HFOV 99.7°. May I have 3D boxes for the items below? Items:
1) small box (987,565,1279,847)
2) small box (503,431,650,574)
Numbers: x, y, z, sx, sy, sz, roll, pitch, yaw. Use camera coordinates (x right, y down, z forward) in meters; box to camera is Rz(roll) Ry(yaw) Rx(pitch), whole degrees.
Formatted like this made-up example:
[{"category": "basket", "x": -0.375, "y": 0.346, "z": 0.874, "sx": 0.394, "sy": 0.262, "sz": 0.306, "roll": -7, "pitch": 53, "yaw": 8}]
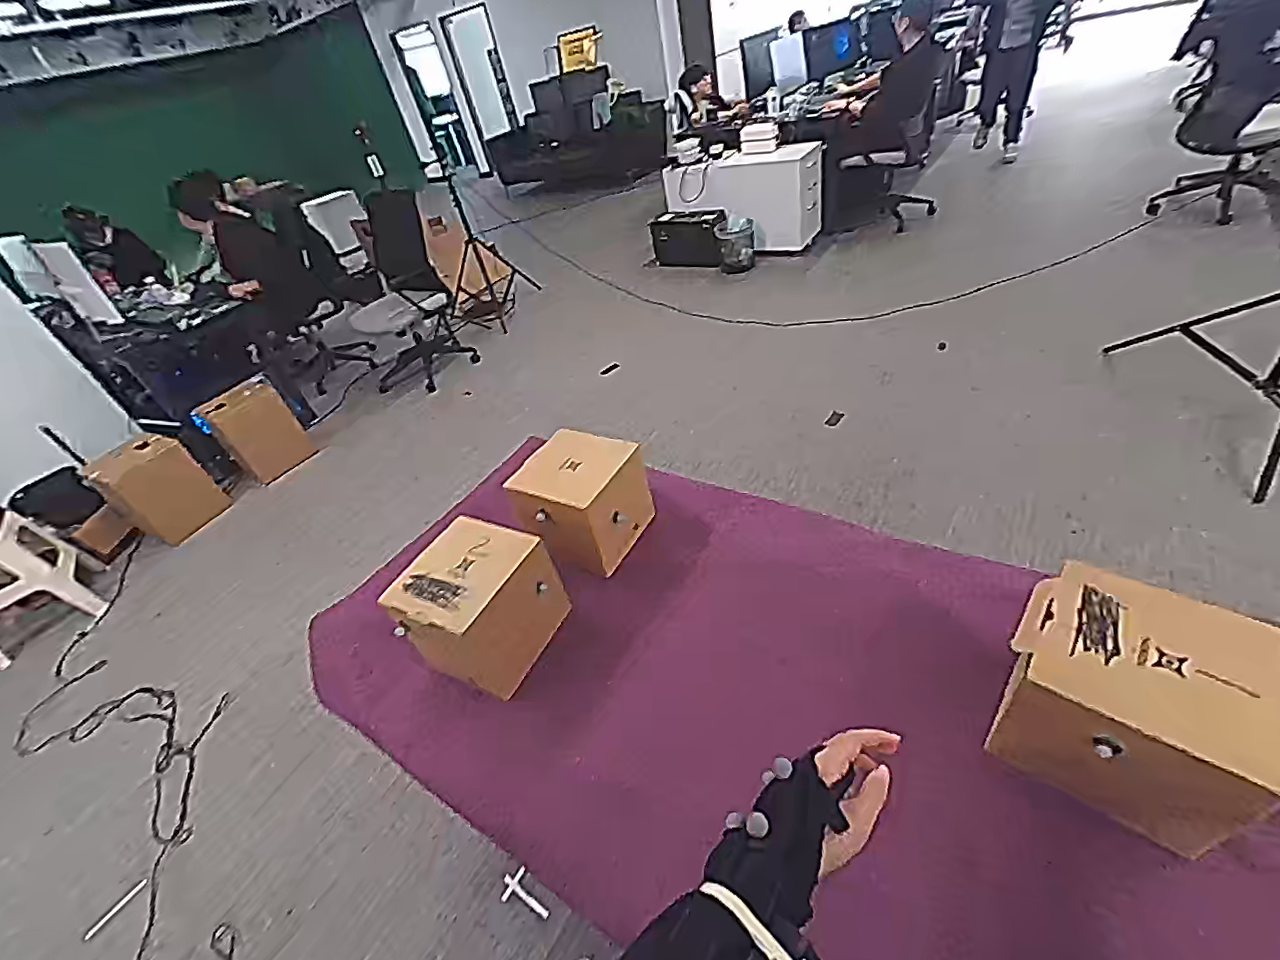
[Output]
[{"category": "small box", "x": 0.482, "y": 0.224, "z": 0.546, "sx": 0.179, "sy": 0.176, "sz": 0.168, "roll": 23, "pitch": 53, "yaw": 35}, {"category": "small box", "x": -0.100, "y": 0.041, "z": 0.945, "sx": 0.179, "sy": 0.176, "sz": 0.168, "roll": 13, "pitch": 47, "yaw": 29}]
